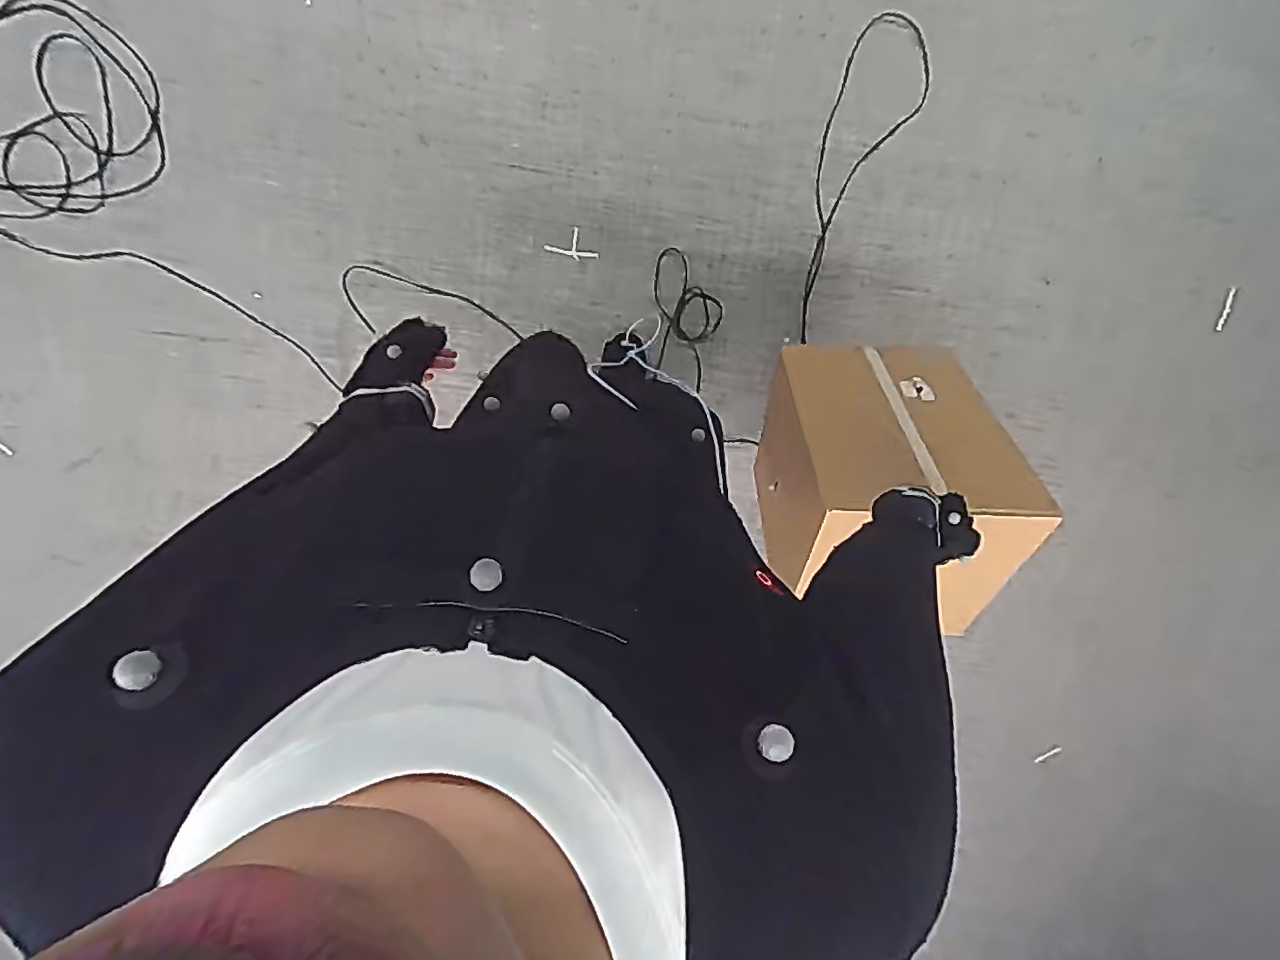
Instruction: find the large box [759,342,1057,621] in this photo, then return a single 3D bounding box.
[{"bbox_3d":[0.409,0.000,0.961,0.320,0.408,0.320,2,135,0],"label":"large box"}]
